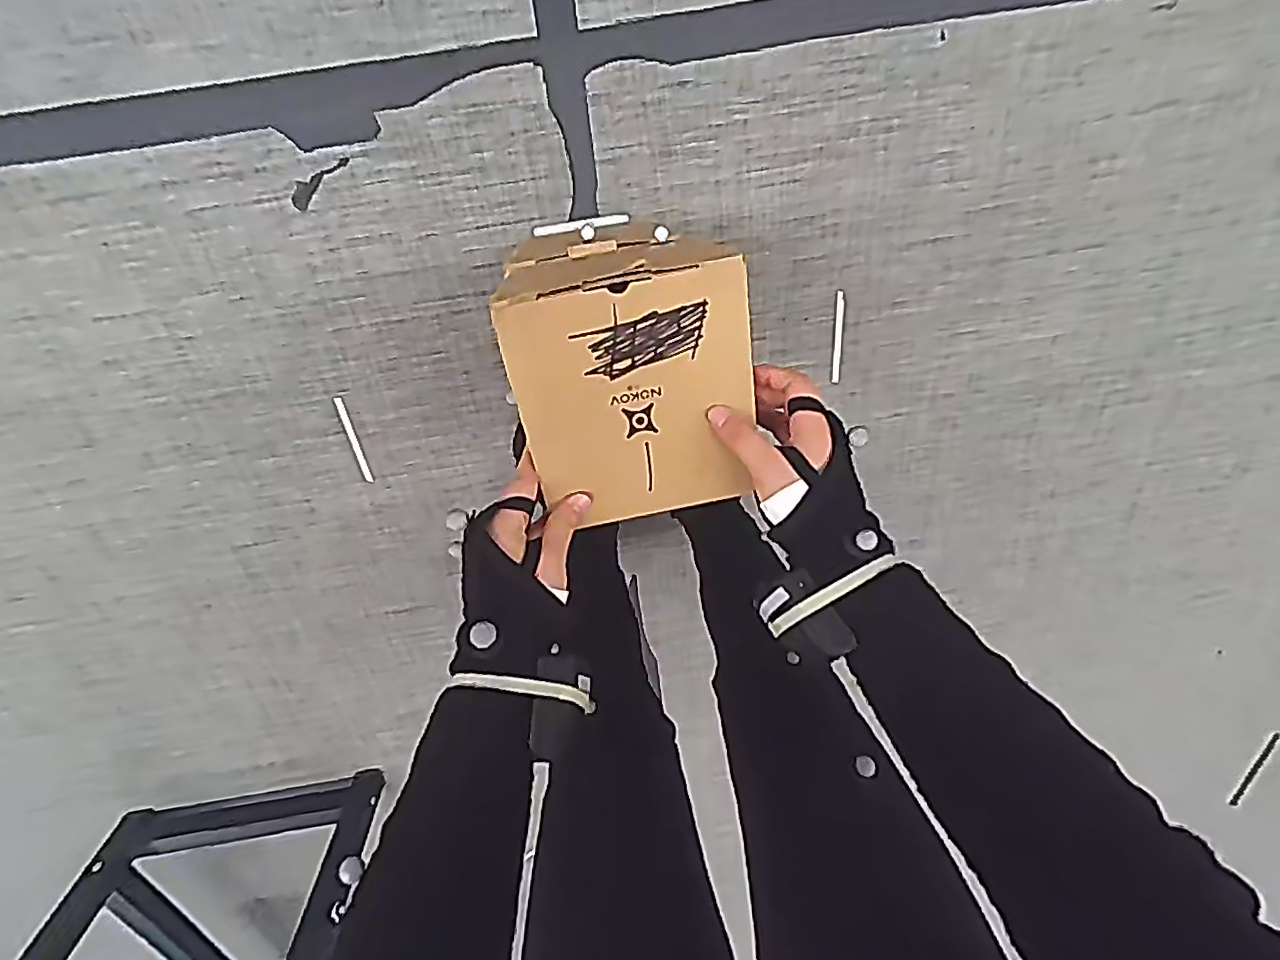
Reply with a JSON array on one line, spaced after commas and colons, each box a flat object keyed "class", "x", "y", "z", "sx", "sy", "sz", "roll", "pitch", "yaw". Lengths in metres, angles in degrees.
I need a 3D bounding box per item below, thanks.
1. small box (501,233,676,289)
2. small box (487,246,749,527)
[{"class": "small box", "x": -0.045, "y": -0.167, "z": 0.598, "sx": 0.168, "sy": 0.176, "sz": 0.179, "roll": -11, "pitch": 117, "yaw": -2}, {"class": "small box", "x": -0.017, "y": -0.090, "z": 0.453, "sx": 0.168, "sy": 0.176, "sz": 0.179, "roll": -12, "pitch": 119, "yaw": -1}]
